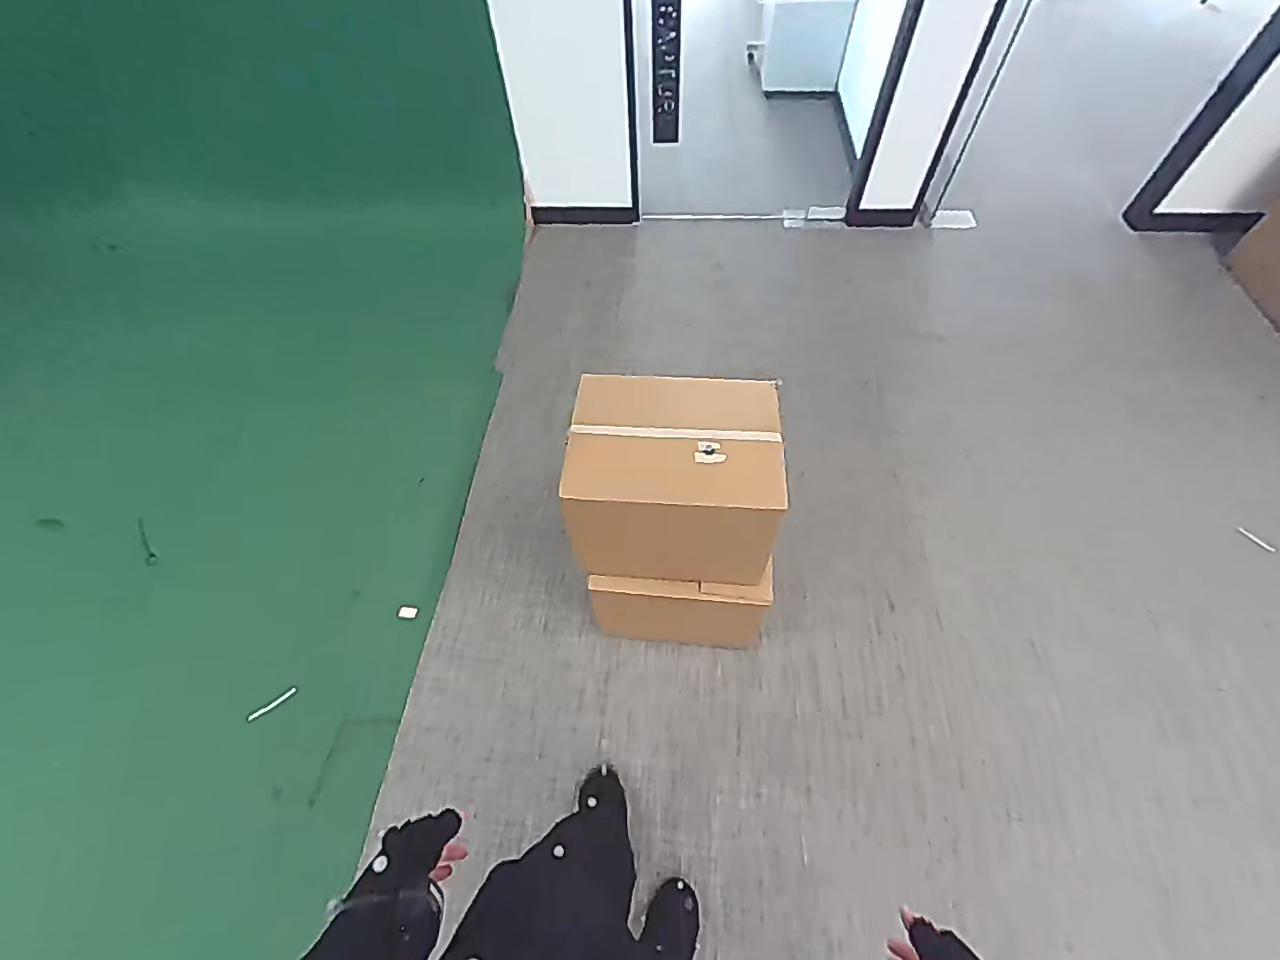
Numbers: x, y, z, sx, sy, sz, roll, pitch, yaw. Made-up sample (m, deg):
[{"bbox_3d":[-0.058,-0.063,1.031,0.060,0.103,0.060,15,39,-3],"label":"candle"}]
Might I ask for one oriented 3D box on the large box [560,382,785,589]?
[{"bbox_3d":[0.065,0.016,1.149,0.408,0.320,0.320,4,53,4],"label":"large box"}]
